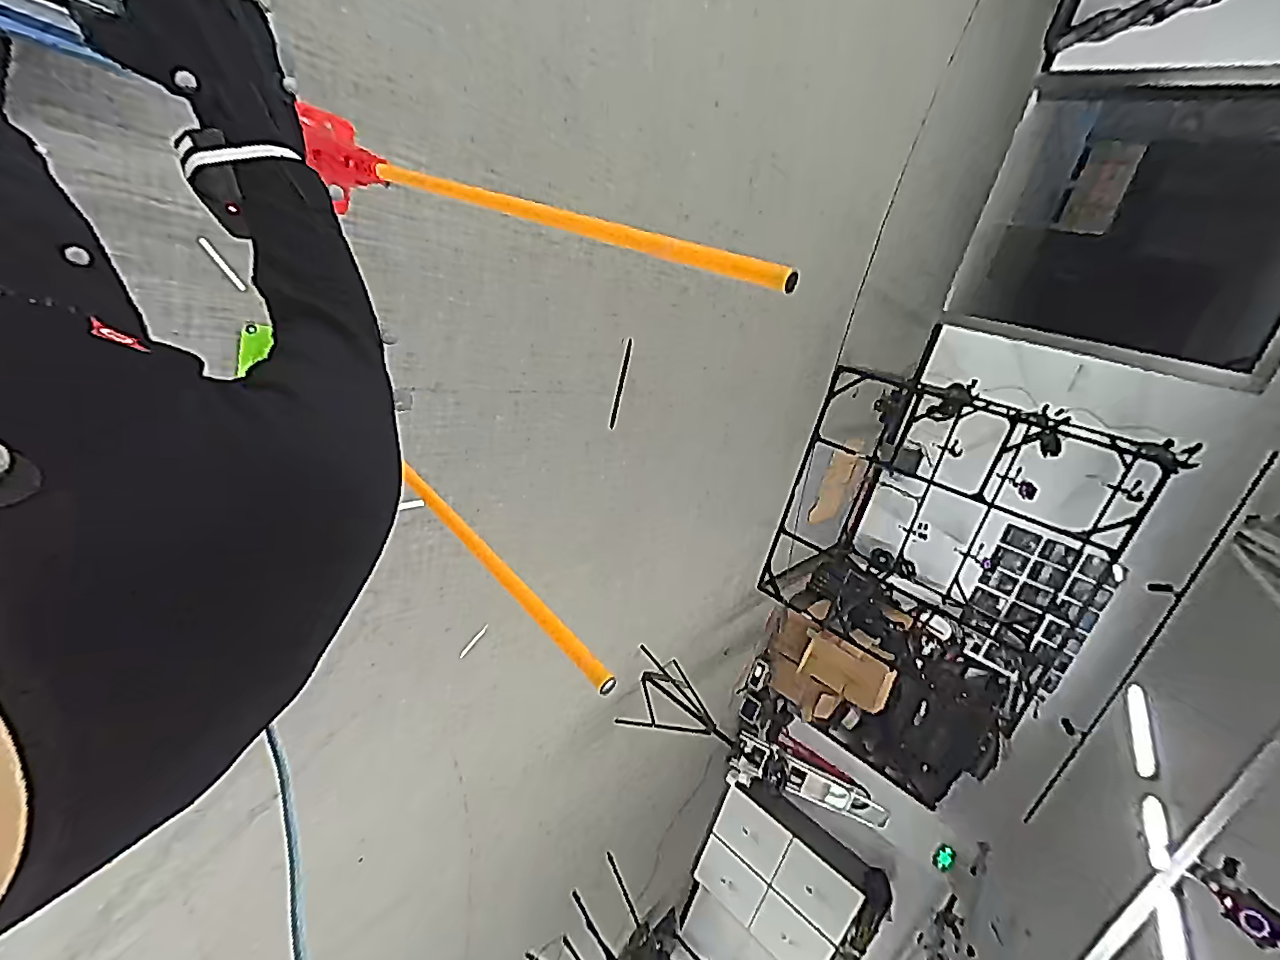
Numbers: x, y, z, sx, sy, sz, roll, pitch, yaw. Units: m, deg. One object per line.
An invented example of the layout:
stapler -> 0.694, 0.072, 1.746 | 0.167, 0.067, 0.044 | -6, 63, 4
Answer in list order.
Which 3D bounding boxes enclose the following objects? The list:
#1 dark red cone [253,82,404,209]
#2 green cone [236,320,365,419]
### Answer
dark red cone -> -0.593, -0.649, 1.078 | 0.201, 0.394, 0.202 | -12, 123, -52
green cone -> -0.736, -0.211, 1.229 | 0.202, 0.368, 0.200 | -5, 117, -53
